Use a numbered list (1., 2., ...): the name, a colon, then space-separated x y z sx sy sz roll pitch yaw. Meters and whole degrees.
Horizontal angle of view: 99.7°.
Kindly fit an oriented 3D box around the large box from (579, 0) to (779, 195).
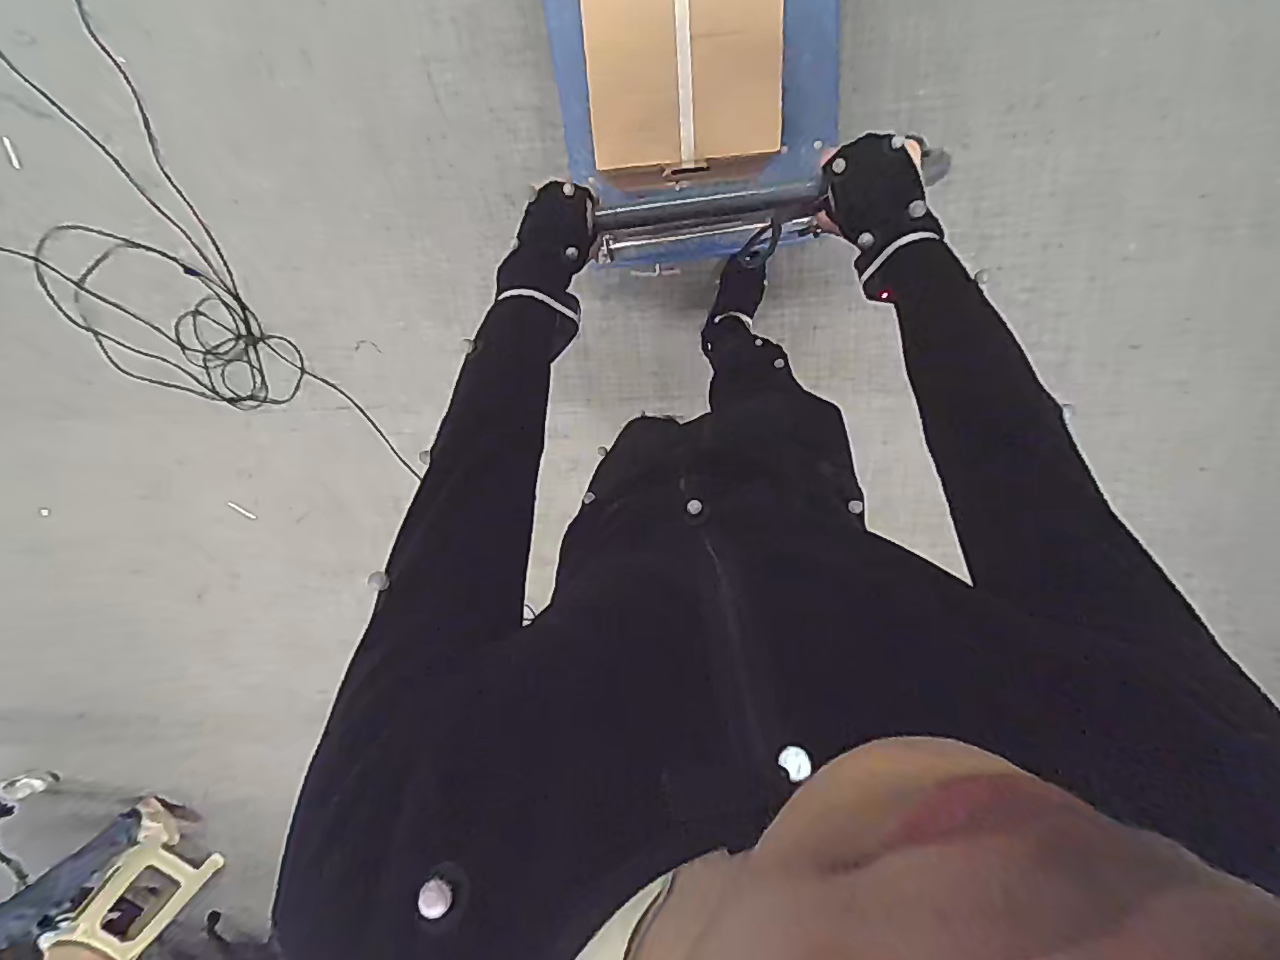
1. large box: 0.075 -0.777 0.987 0.320 0.320 0.408 -2 111 6
